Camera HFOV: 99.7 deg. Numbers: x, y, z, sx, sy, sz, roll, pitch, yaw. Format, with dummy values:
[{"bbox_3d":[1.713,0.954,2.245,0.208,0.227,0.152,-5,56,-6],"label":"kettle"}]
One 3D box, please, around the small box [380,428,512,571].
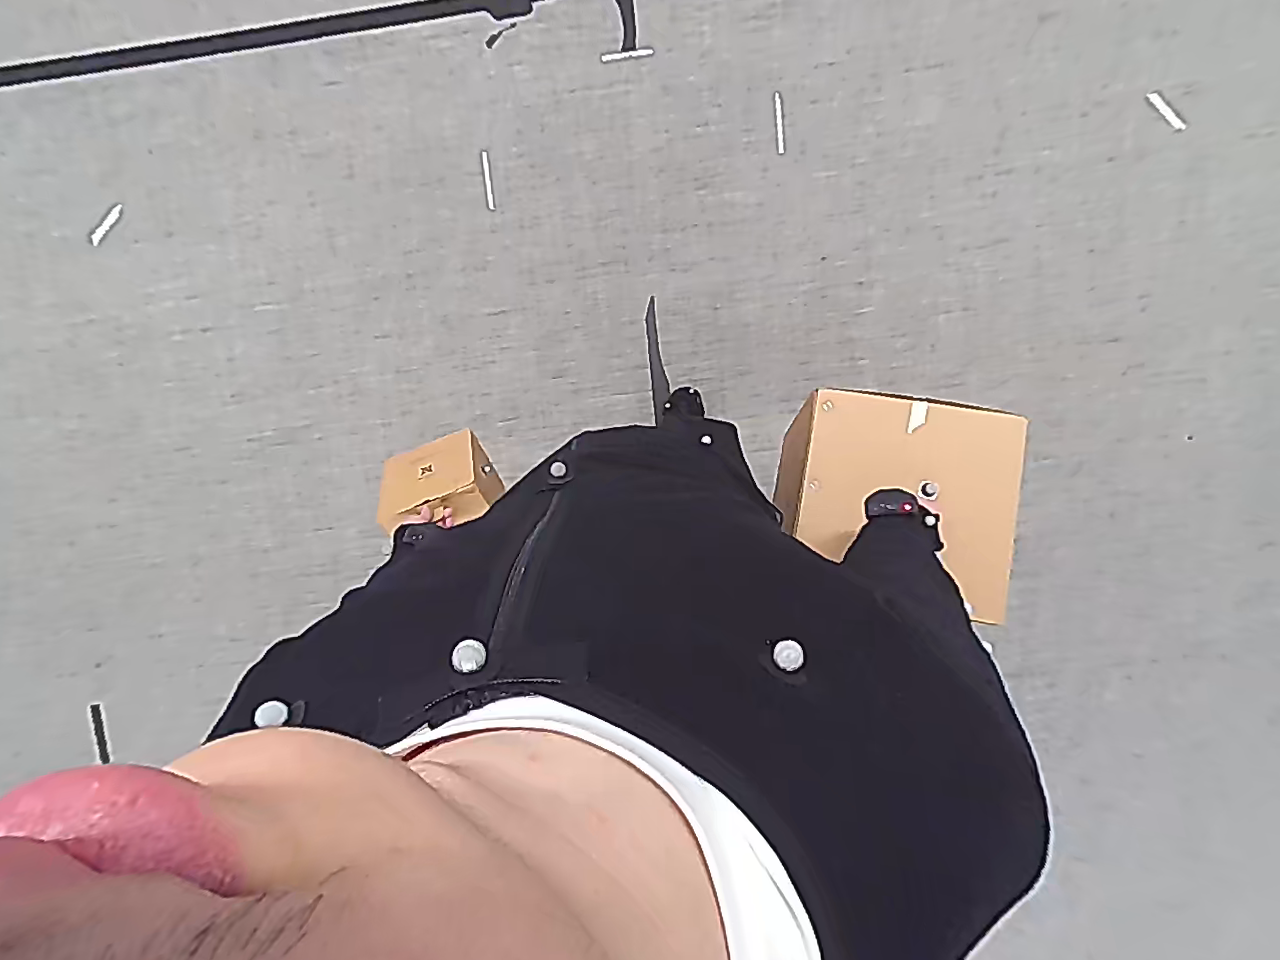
[{"bbox_3d":[-0.344,0.042,0.981,0.168,0.179,0.176,-21,131,-4],"label":"small box"}]
